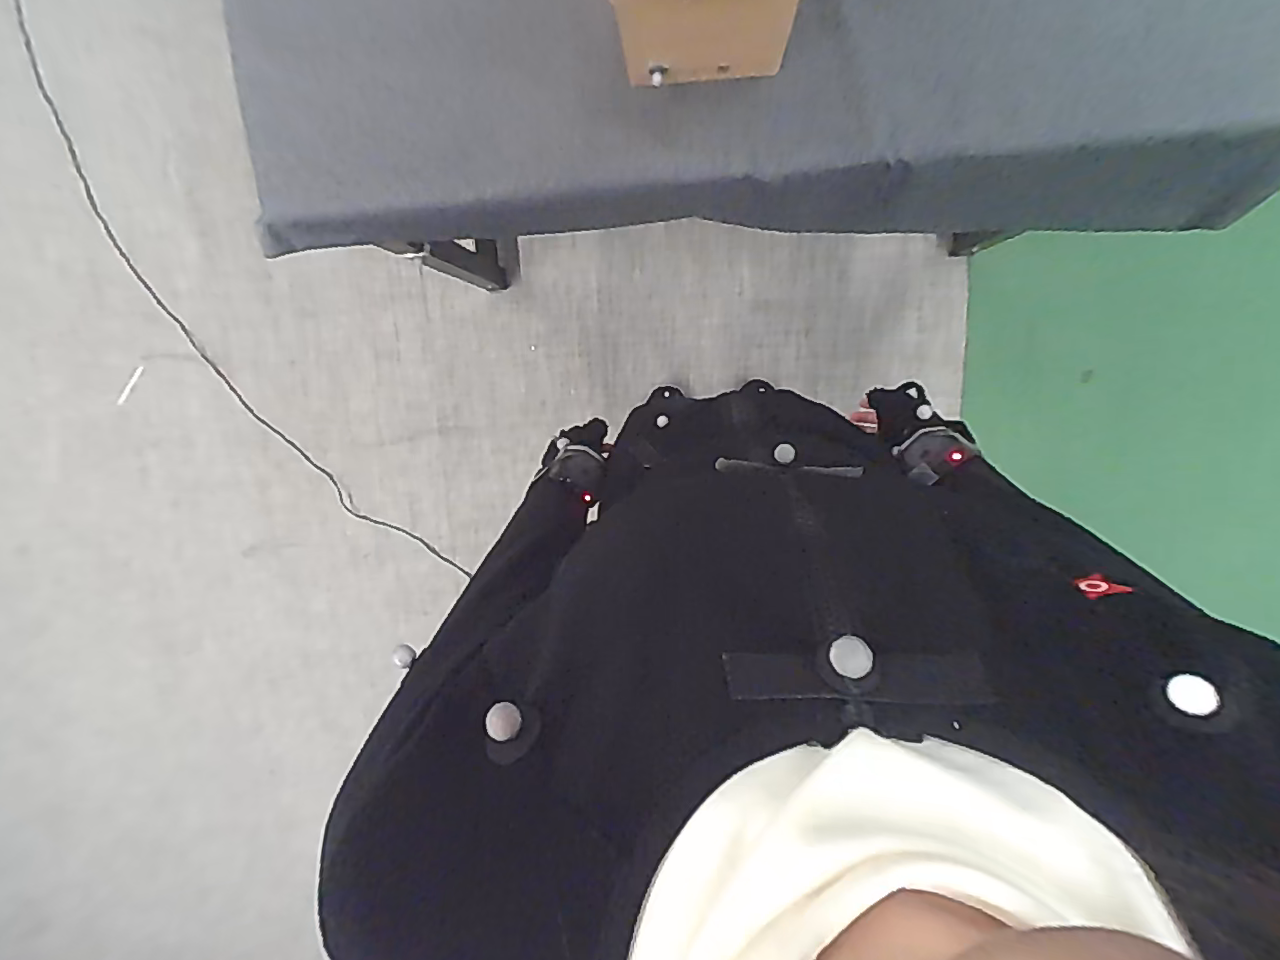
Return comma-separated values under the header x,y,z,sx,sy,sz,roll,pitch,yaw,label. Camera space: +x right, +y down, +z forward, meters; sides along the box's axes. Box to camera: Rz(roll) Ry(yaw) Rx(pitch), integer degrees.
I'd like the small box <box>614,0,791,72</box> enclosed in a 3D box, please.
x,y,z,sx,sy,sz,roll,pitch,yaw,label
0.062,-0.523,0.514,0.168,0.176,0.179,-1,100,5,small box
